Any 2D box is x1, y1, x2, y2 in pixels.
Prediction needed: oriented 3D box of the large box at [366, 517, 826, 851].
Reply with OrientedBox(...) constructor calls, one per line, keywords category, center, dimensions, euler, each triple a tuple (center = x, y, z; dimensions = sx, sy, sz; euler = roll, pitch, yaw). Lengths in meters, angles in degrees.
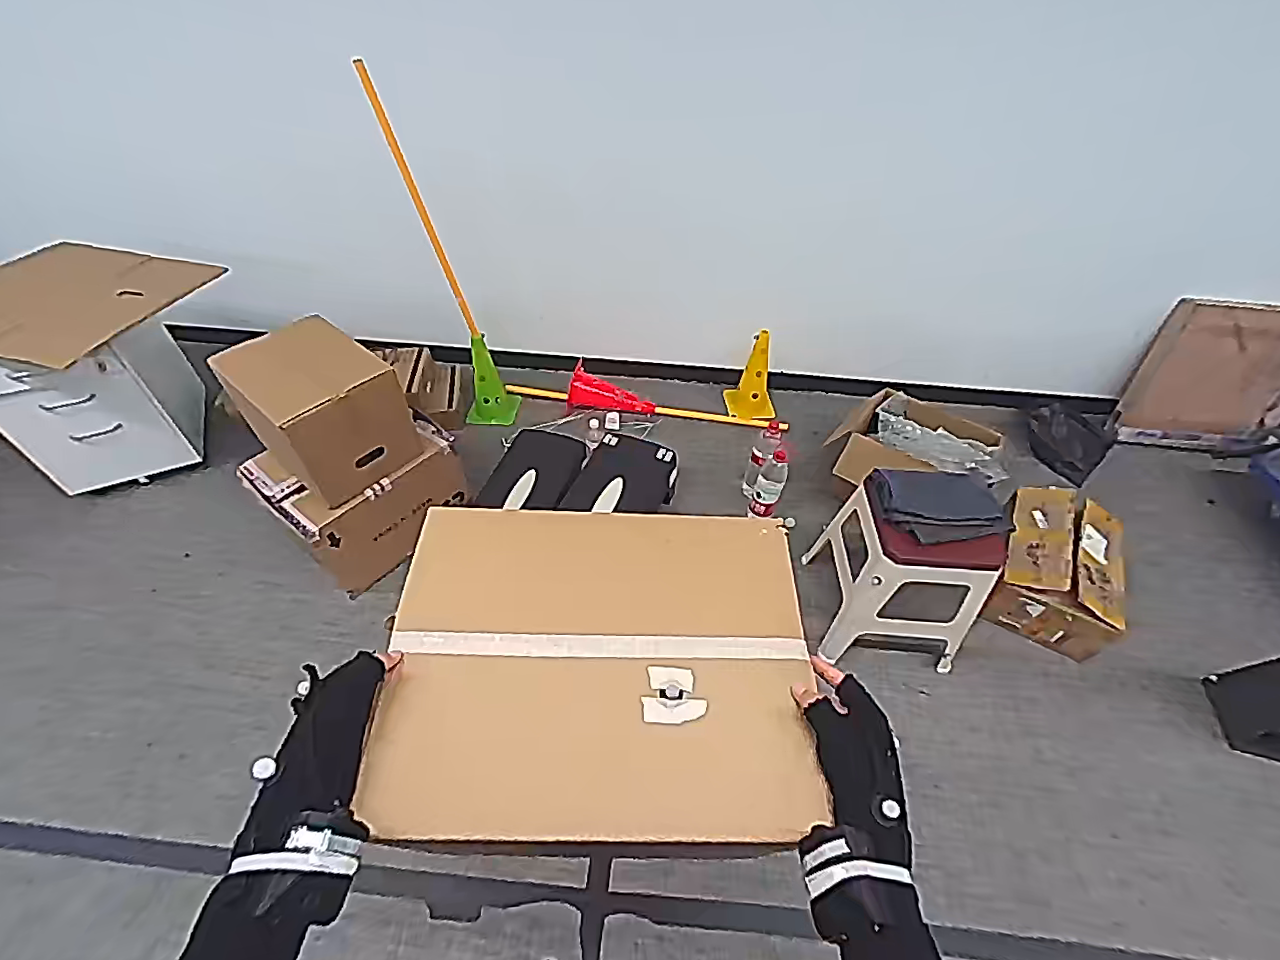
OrientedBox(category="large box", center=(-0.045, 0.261, 0.667), dimensions=(0.408, 0.320, 0.320), euler=(3, 54, -3))
